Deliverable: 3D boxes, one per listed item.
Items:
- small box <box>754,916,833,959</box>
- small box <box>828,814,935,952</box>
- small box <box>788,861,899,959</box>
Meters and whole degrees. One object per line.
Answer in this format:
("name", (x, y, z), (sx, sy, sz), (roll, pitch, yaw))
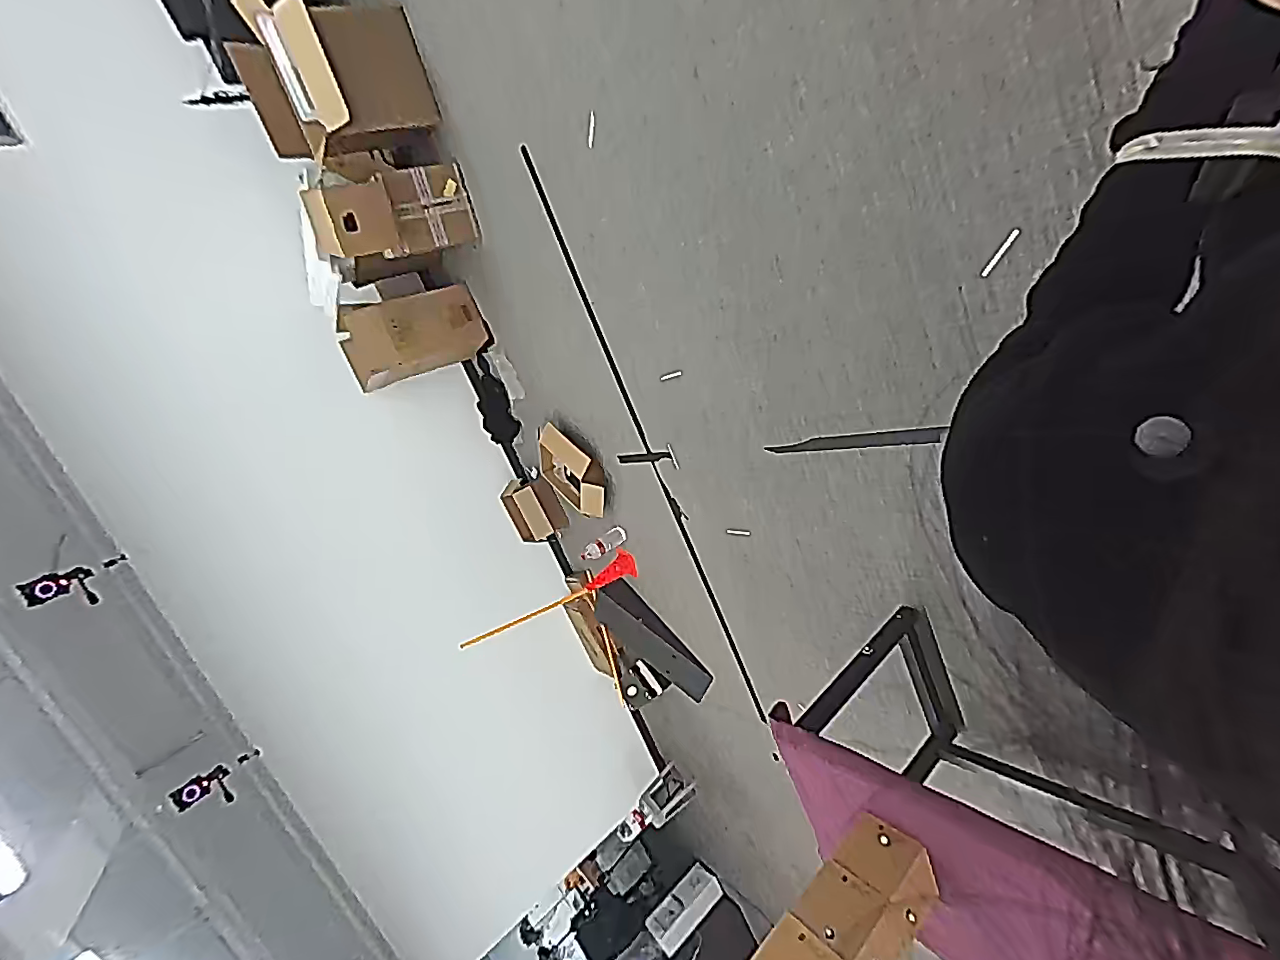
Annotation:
("small box", (0.356, 1.128, 1.189), (0.168, 0.176, 0.179), (5, 121, 55))
("small box", (0.608, 0.995, 1.350), (0.168, 0.176, 0.179), (3, 118, 56))
("small box", (0.482, 1.062, 1.270), (0.168, 0.176, 0.179), (6, 122, 55))
